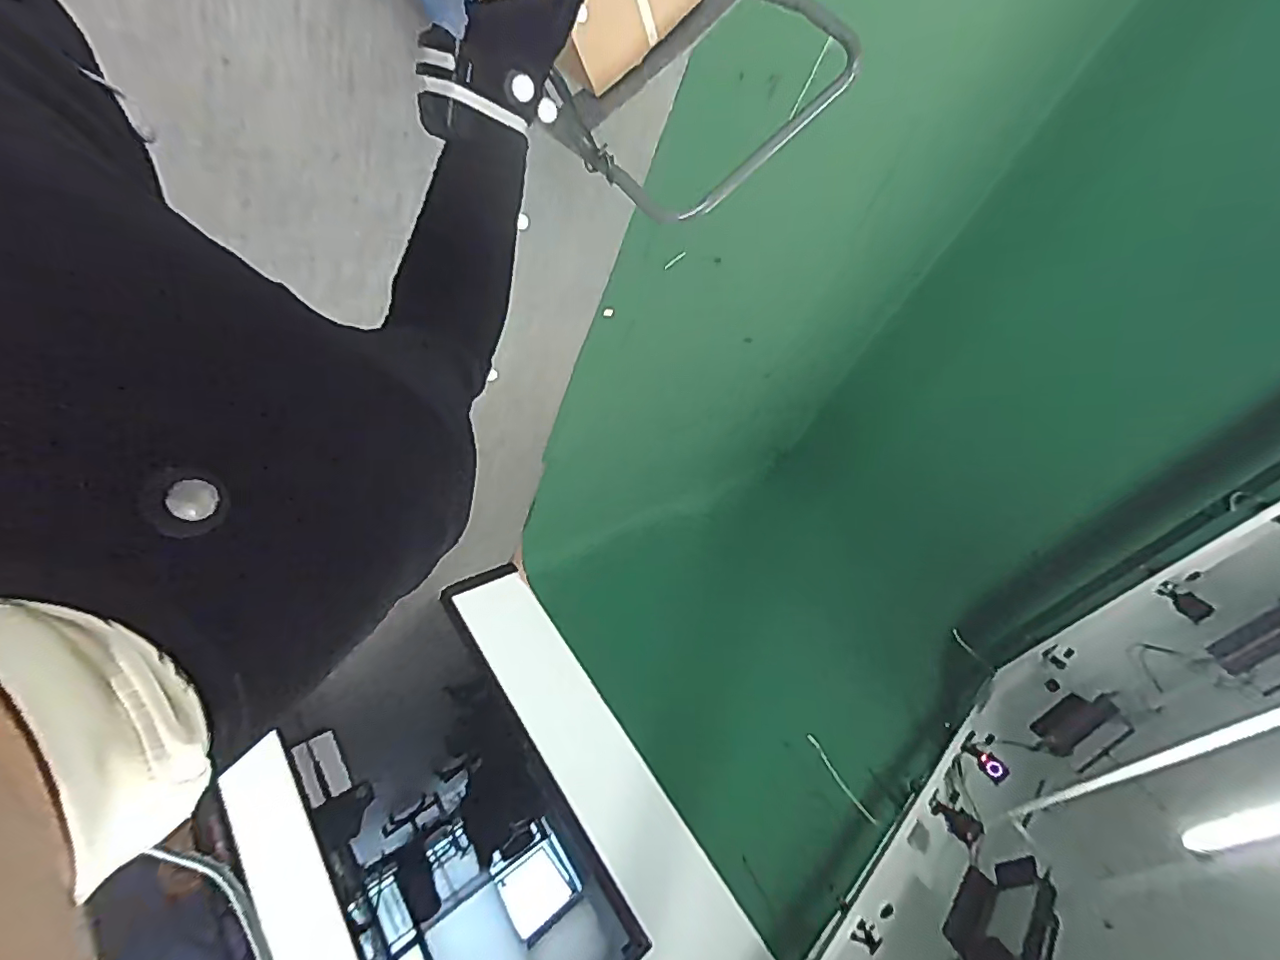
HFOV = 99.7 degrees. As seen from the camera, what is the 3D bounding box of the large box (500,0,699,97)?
[{"bbox_3d":[-0.134,-1.054,1.006,0.320,0.320,0.408,-42,154,3],"label":"large box"}]
